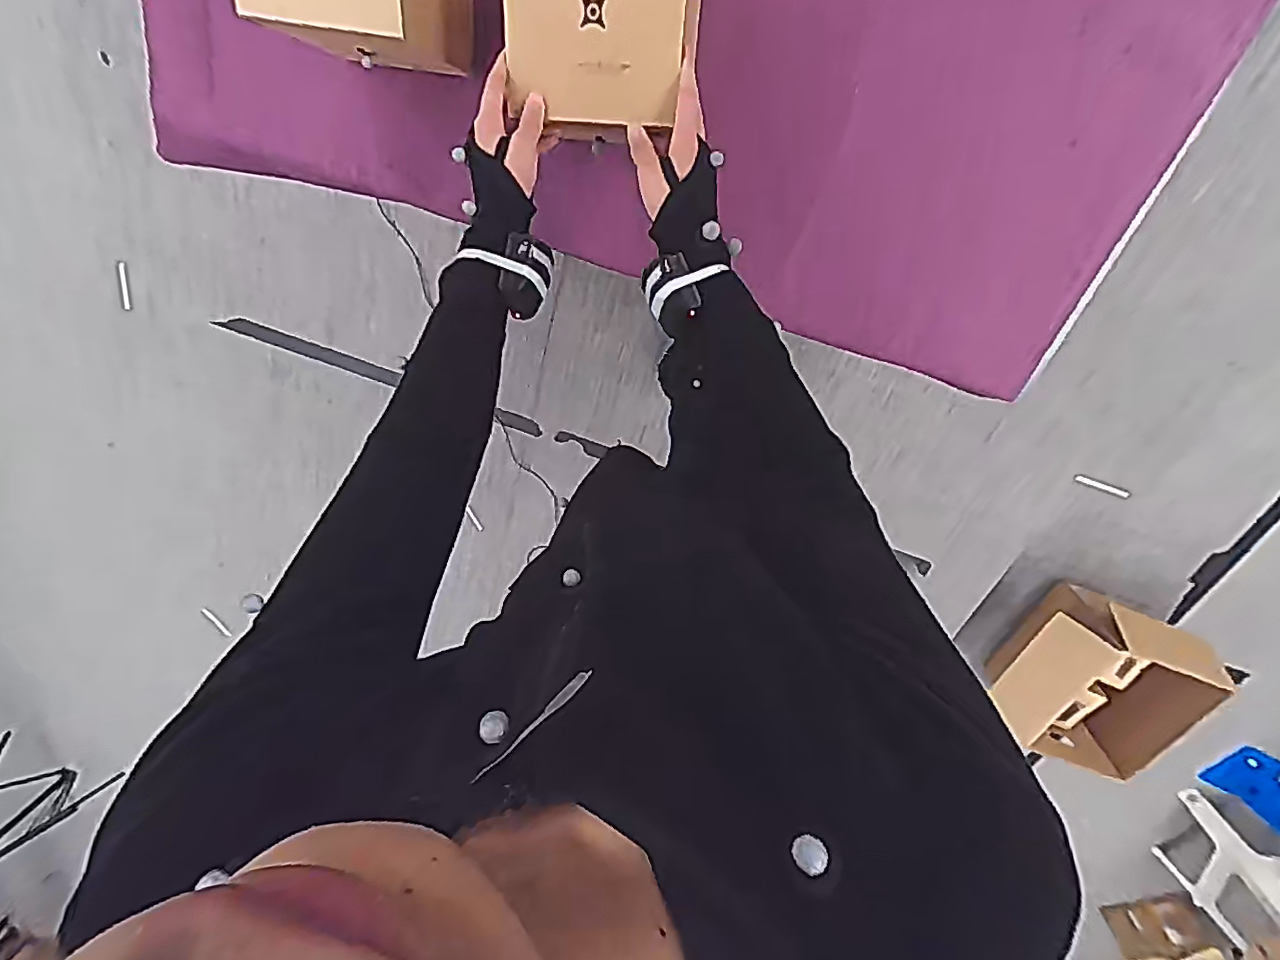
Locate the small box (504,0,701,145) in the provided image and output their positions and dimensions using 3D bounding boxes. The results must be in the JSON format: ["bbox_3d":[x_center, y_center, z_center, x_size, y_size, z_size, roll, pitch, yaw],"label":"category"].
[{"bbox_3d":[-0.029,-0.453,0.541,0.168,0.176,0.179,8,117,5],"label":"small box"}]

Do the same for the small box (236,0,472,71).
[{"bbox_3d":[-0.274,-0.533,0.534,0.168,0.176,0.179,10,117,2],"label":"small box"}]
